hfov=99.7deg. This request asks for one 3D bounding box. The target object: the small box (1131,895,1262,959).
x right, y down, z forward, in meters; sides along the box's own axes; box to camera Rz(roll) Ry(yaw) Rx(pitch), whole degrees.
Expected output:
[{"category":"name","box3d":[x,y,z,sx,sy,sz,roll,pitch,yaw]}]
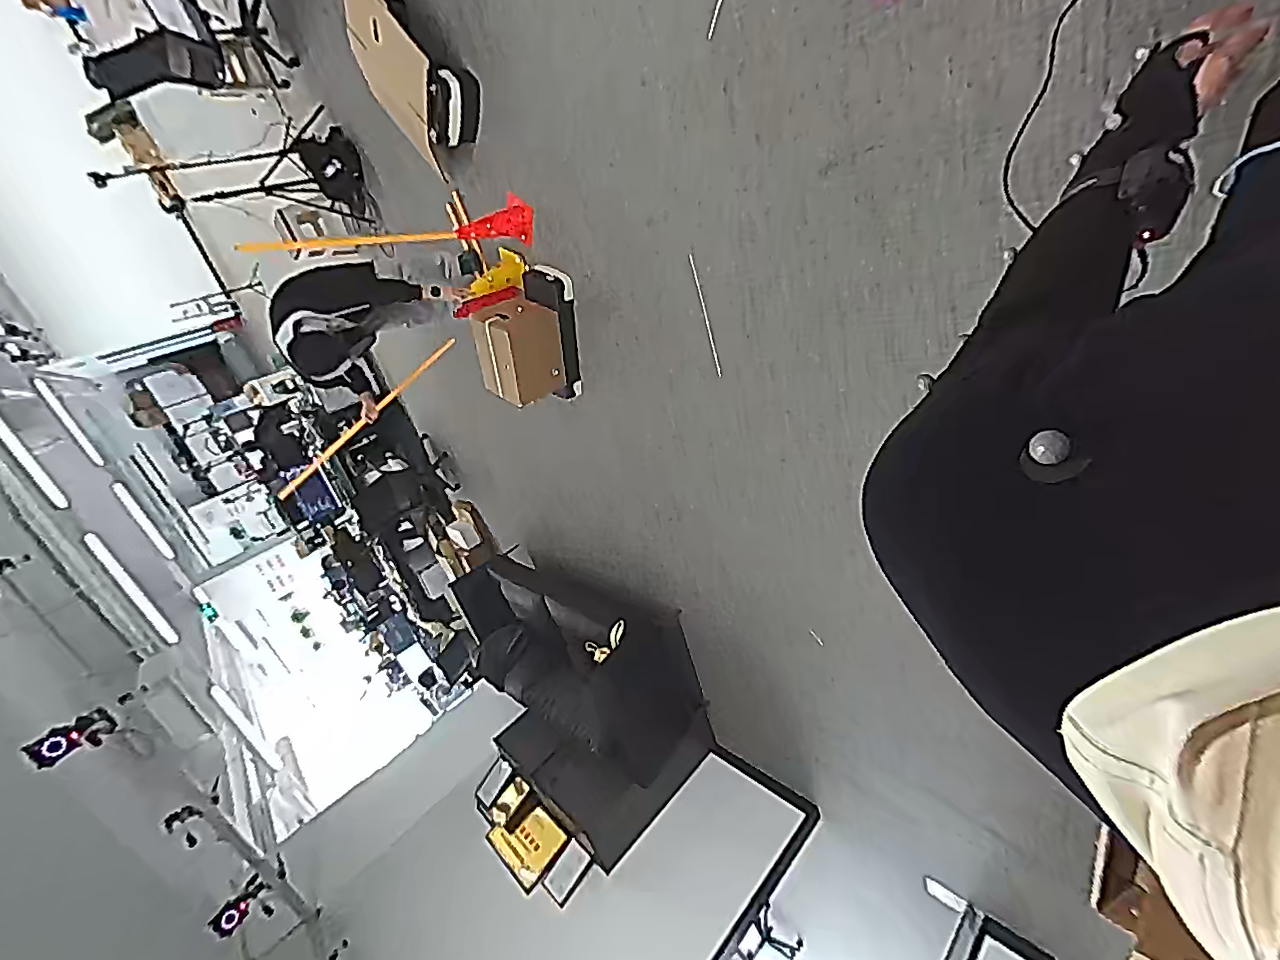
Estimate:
[{"category":"small box","box3d":[1.168,1.043,1.143,0.179,0.176,0.168,15,127,47]}]
